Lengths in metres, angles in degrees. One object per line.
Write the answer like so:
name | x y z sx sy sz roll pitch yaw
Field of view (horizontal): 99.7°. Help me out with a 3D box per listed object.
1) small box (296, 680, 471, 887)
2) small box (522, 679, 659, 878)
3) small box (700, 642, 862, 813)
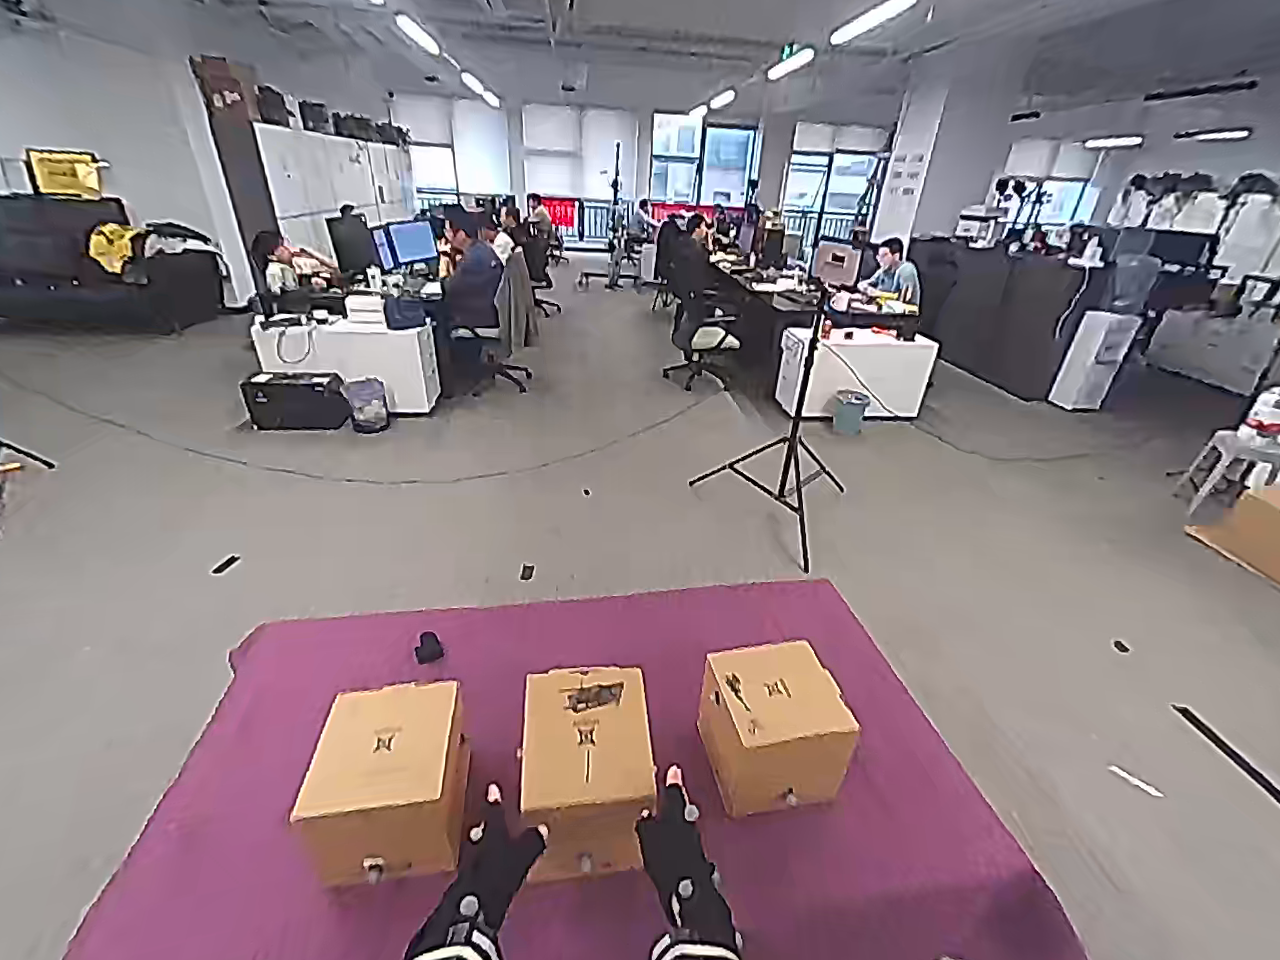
small box | -0.329 0.405 0.736 0.168 0.176 0.179 -4 30 -10
small box | -0.071 0.407 0.752 0.168 0.176 0.179 -2 28 -7
small box | 0.204 0.377 0.835 0.179 0.176 0.168 -3 29 -11
